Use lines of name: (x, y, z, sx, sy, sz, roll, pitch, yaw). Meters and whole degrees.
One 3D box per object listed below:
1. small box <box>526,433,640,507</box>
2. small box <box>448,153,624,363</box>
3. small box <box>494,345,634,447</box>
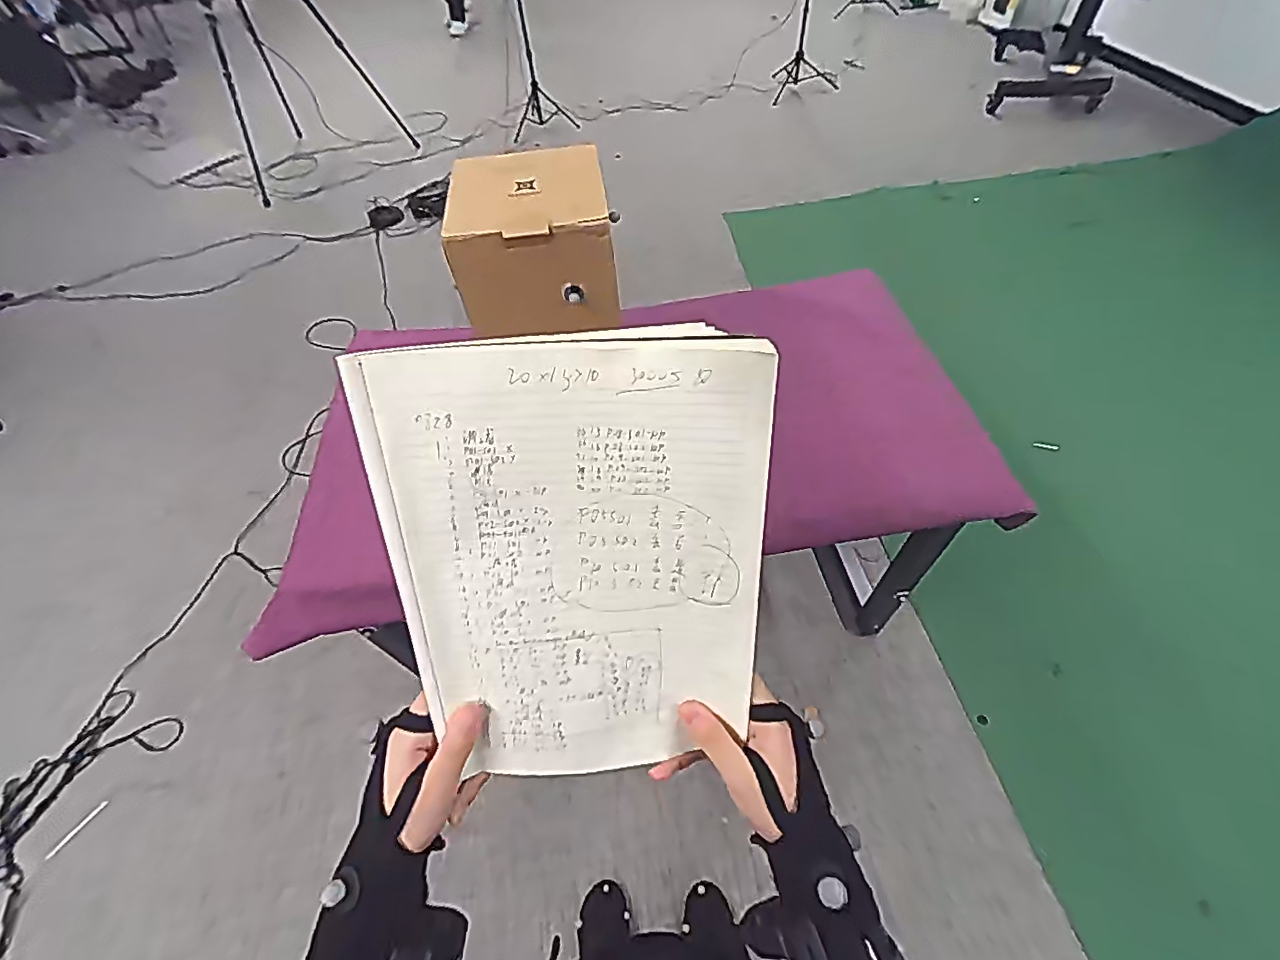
small box: (-0.093, -0.068, 0.912, 0.168, 0.176, 0.179, -8, 54, -2)
small box: (-0.112, -0.255, 0.643, 0.168, 0.176, 0.179, -7, 53, -2)
small box: (-0.103, -0.161, 0.776, 0.168, 0.176, 0.179, -8, 52, -2)
